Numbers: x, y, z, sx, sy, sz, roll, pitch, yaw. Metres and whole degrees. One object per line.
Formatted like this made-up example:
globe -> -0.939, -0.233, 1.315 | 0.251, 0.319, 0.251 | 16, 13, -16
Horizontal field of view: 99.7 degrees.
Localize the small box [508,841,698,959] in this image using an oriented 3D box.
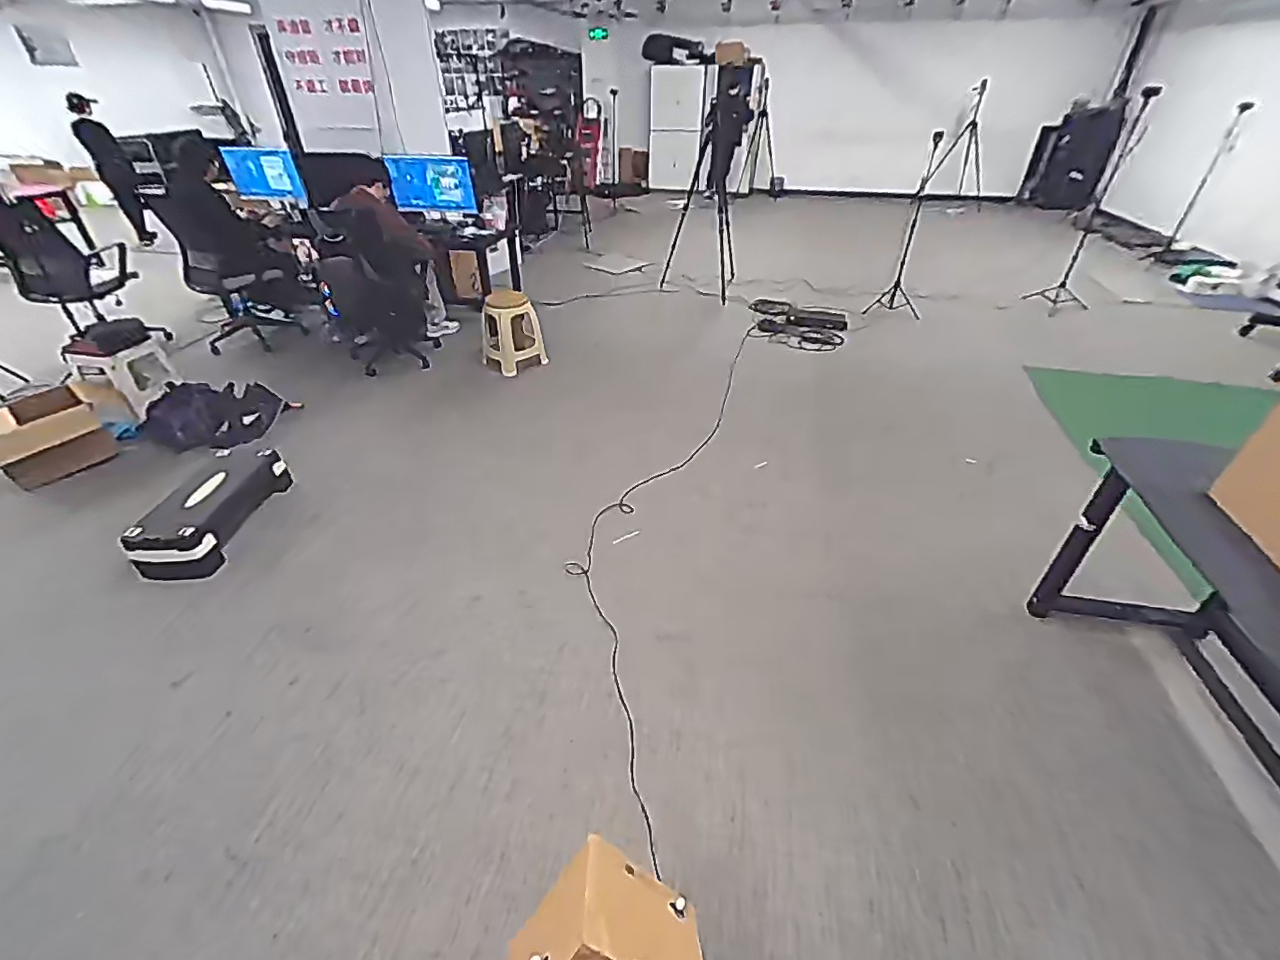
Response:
small box -> -0.046, 0.548, 0.585 | 0.168, 0.179, 0.176 | 37, -2, -2
